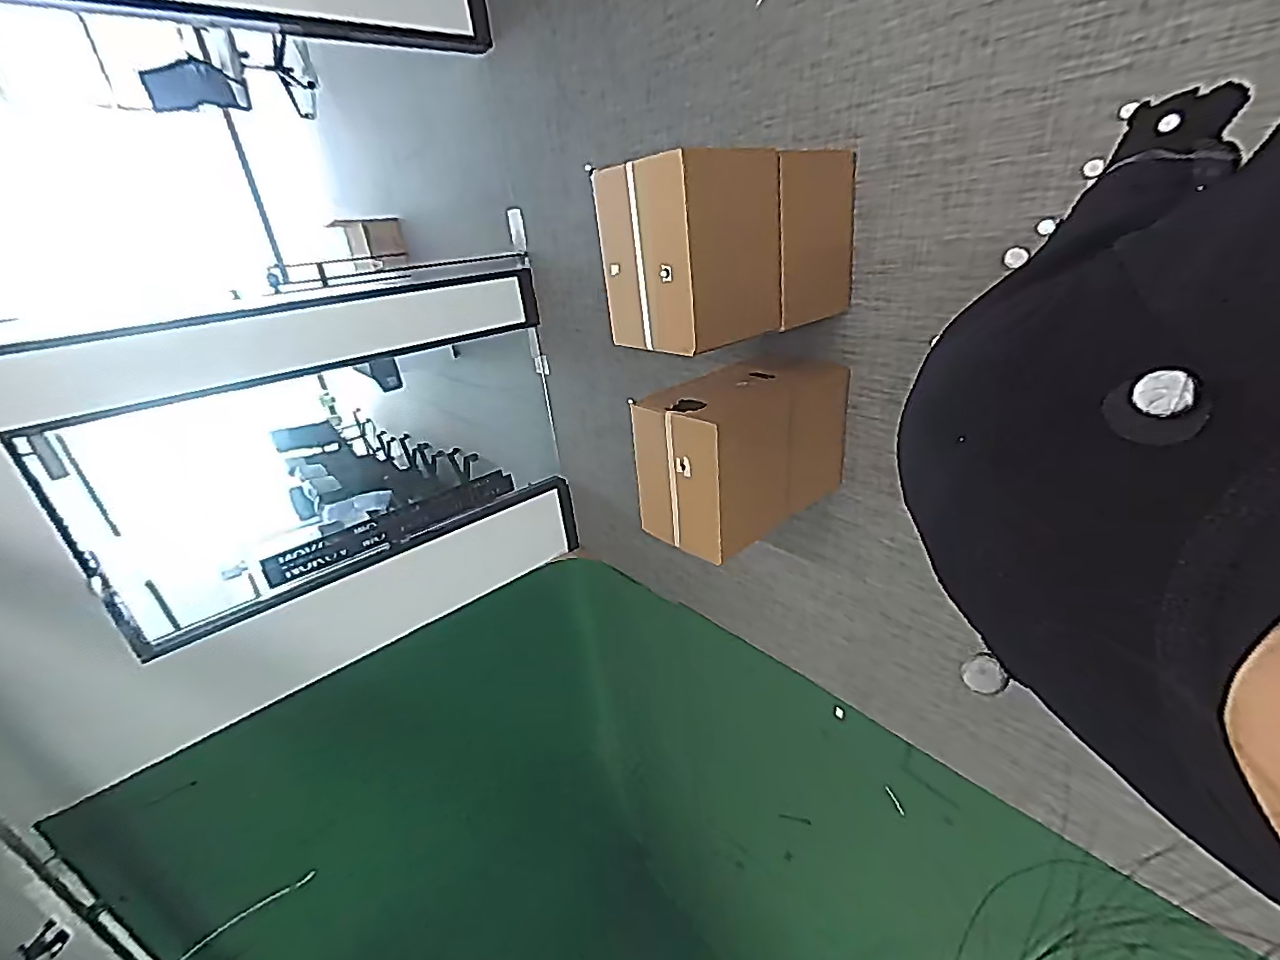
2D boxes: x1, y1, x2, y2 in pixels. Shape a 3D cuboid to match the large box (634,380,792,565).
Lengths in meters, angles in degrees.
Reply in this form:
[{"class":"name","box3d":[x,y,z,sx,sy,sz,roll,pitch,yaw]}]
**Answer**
[{"class":"large box","box3d":[0.213,-0.038,1.530,0.320,0.320,0.408,21,125,44]}]
